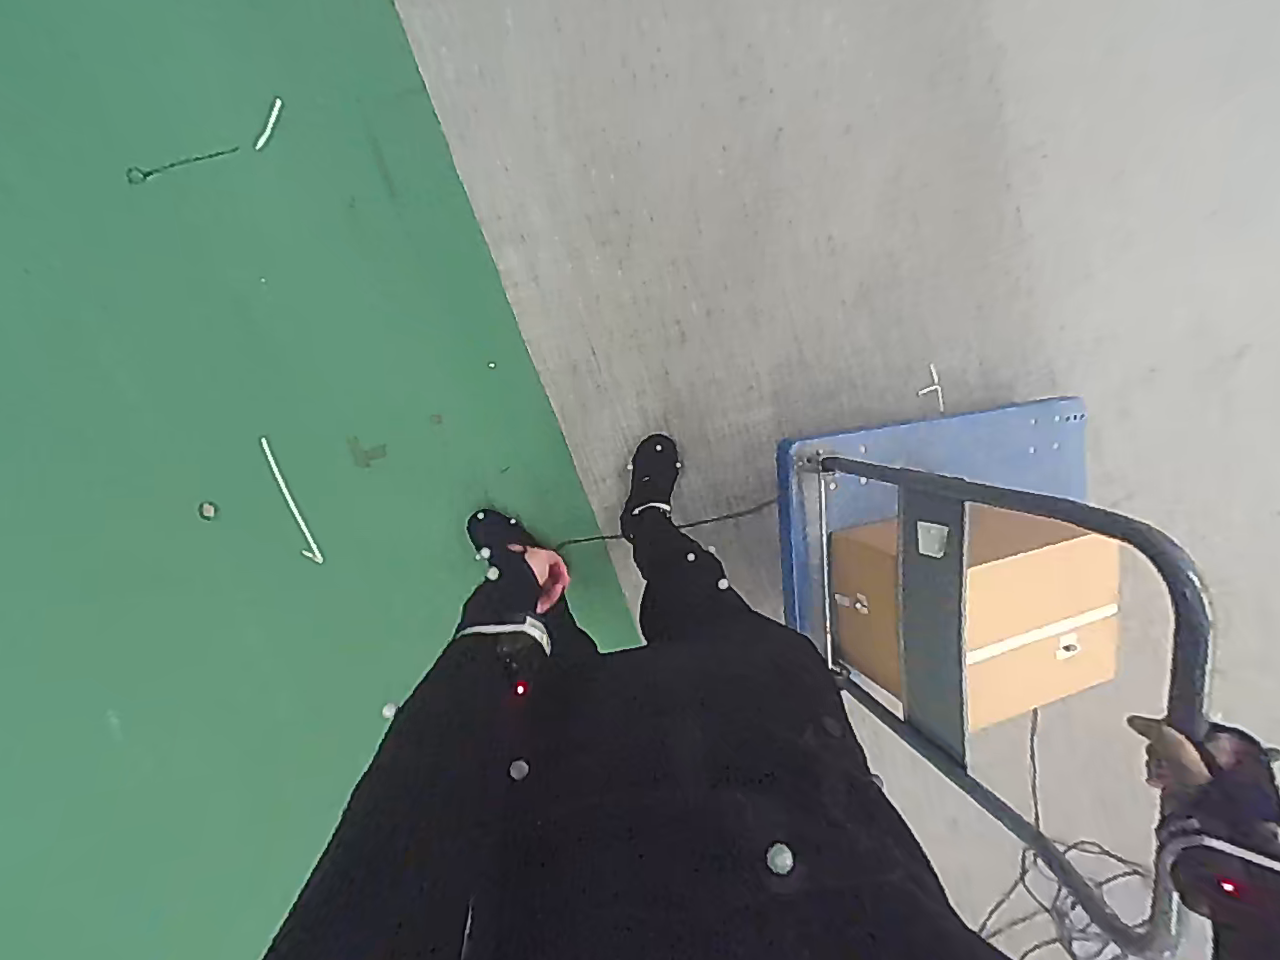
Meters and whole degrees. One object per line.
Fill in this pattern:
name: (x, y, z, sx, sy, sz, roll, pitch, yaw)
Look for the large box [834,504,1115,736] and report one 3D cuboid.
large box: (0.675, 0.254, 1.125, 0.408, 0.320, 0.320, -10, 101, -17)
